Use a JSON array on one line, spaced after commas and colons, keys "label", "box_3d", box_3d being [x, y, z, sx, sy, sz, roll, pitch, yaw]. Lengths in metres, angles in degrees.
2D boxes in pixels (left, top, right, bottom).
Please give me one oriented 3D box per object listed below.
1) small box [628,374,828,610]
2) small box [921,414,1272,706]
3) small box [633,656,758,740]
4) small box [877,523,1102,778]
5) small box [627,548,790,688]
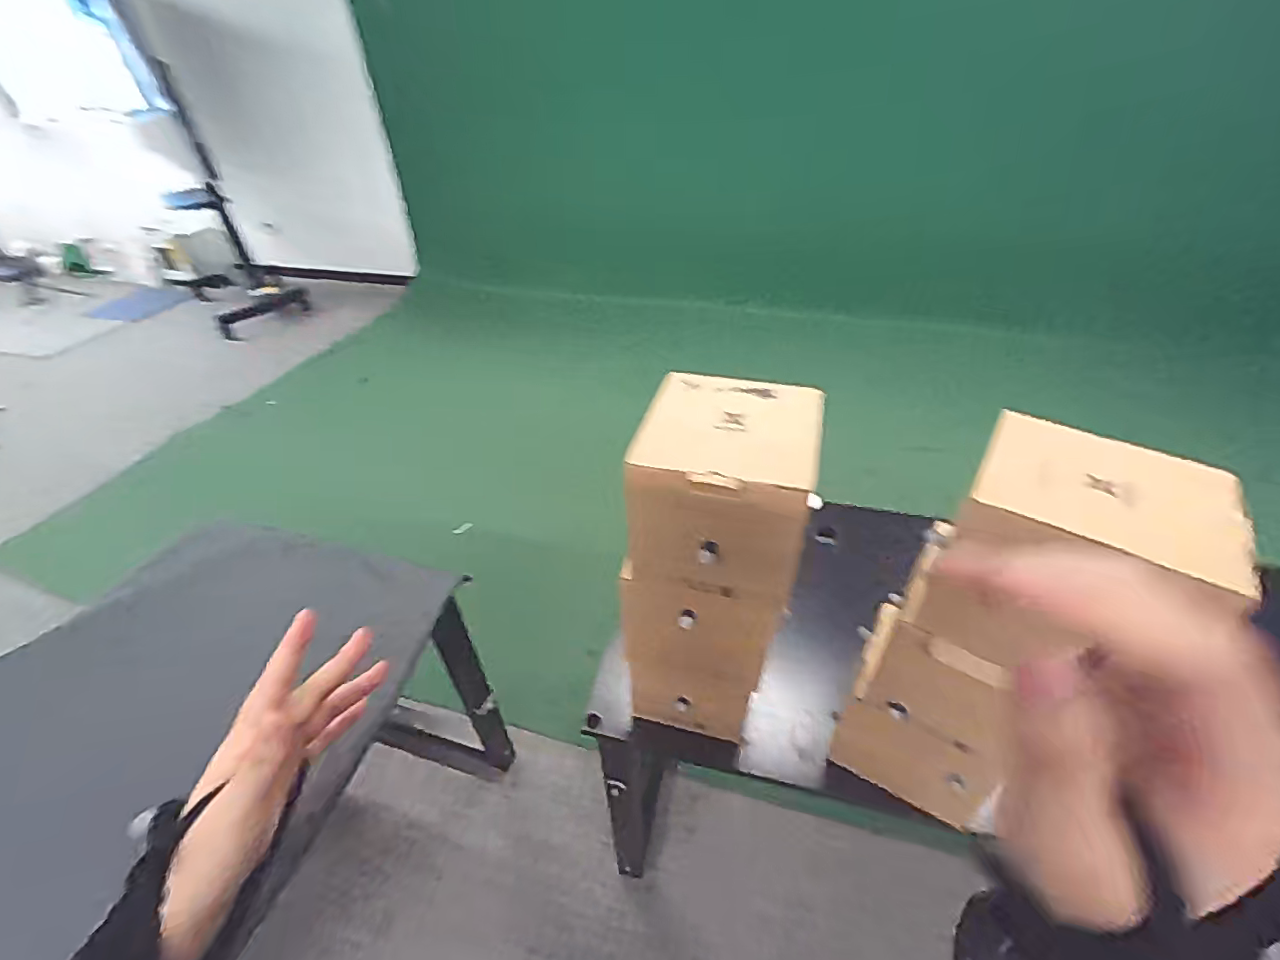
[{"label": "small box", "box_3d": [0.096, 0.010, 0.572, 0.168, 0.176, 0.179, 9, 42, 15]}, {"label": "small box", "box_3d": [0.386, 0.071, 0.487, 0.179, 0.176, 0.168, 23, 45, 28]}, {"label": "small box", "box_3d": [0.095, 0.249, 0.796, 0.168, 0.176, 0.179, 10, 41, 13]}, {"label": "small box", "box_3d": [0.382, 0.186, 0.602, 0.168, 0.176, 0.179, 23, 45, 26]}, {"label": "small box", "box_3d": [0.092, 0.135, 0.680, 0.179, 0.176, 0.168, 9, 41, 13]}]
